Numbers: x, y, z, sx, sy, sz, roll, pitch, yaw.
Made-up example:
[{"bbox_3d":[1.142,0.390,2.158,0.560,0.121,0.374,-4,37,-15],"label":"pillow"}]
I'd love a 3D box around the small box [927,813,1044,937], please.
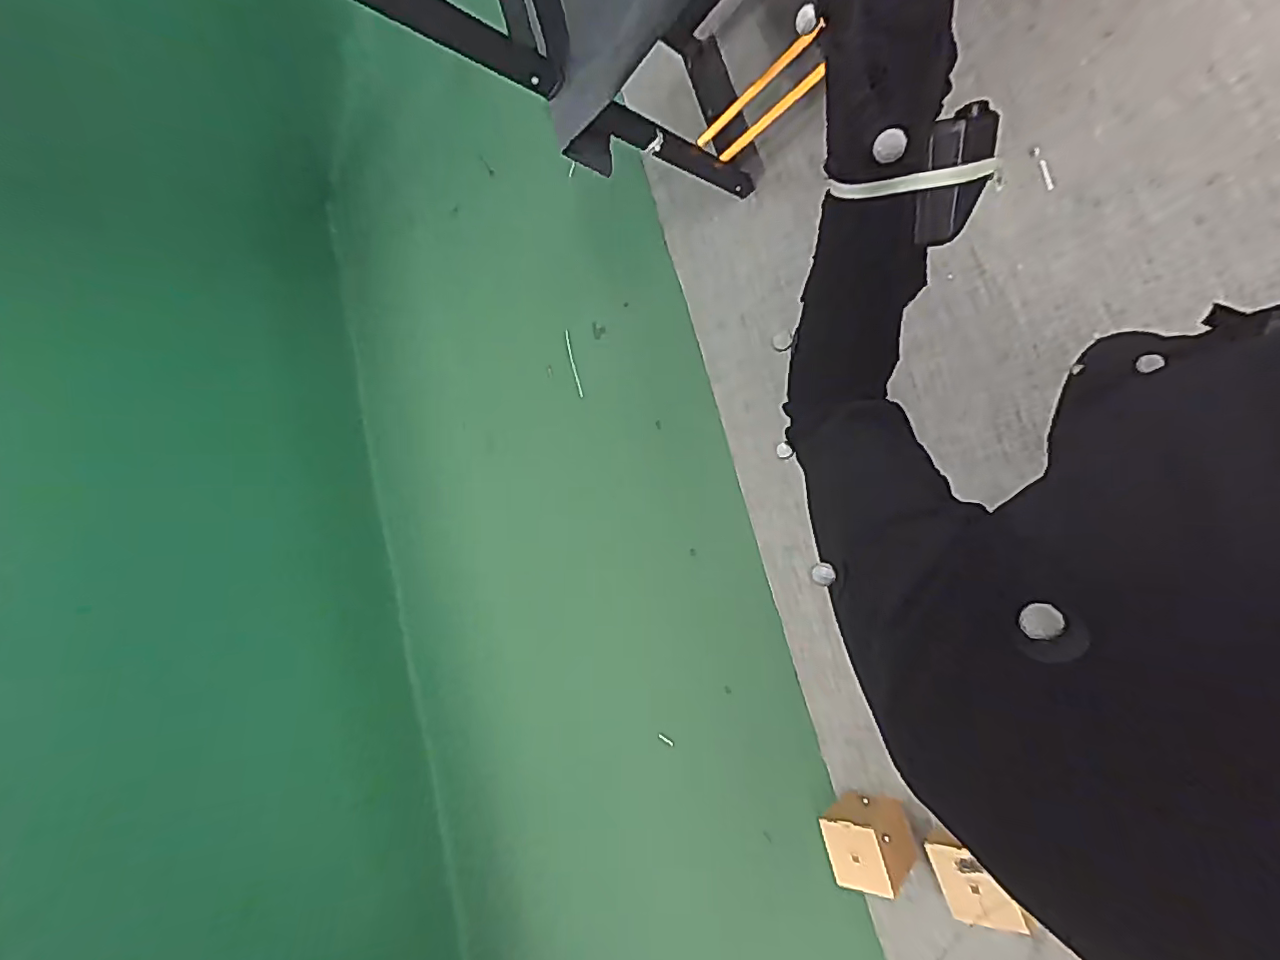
[{"bbox_3d":[0.823,0.924,1.286,0.168,0.176,0.179,-29,74,43],"label":"small box"}]

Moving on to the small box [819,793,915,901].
[{"bbox_3d":[0.629,1.003,1.491,0.168,0.176,0.179,-24,77,43],"label":"small box"}]
